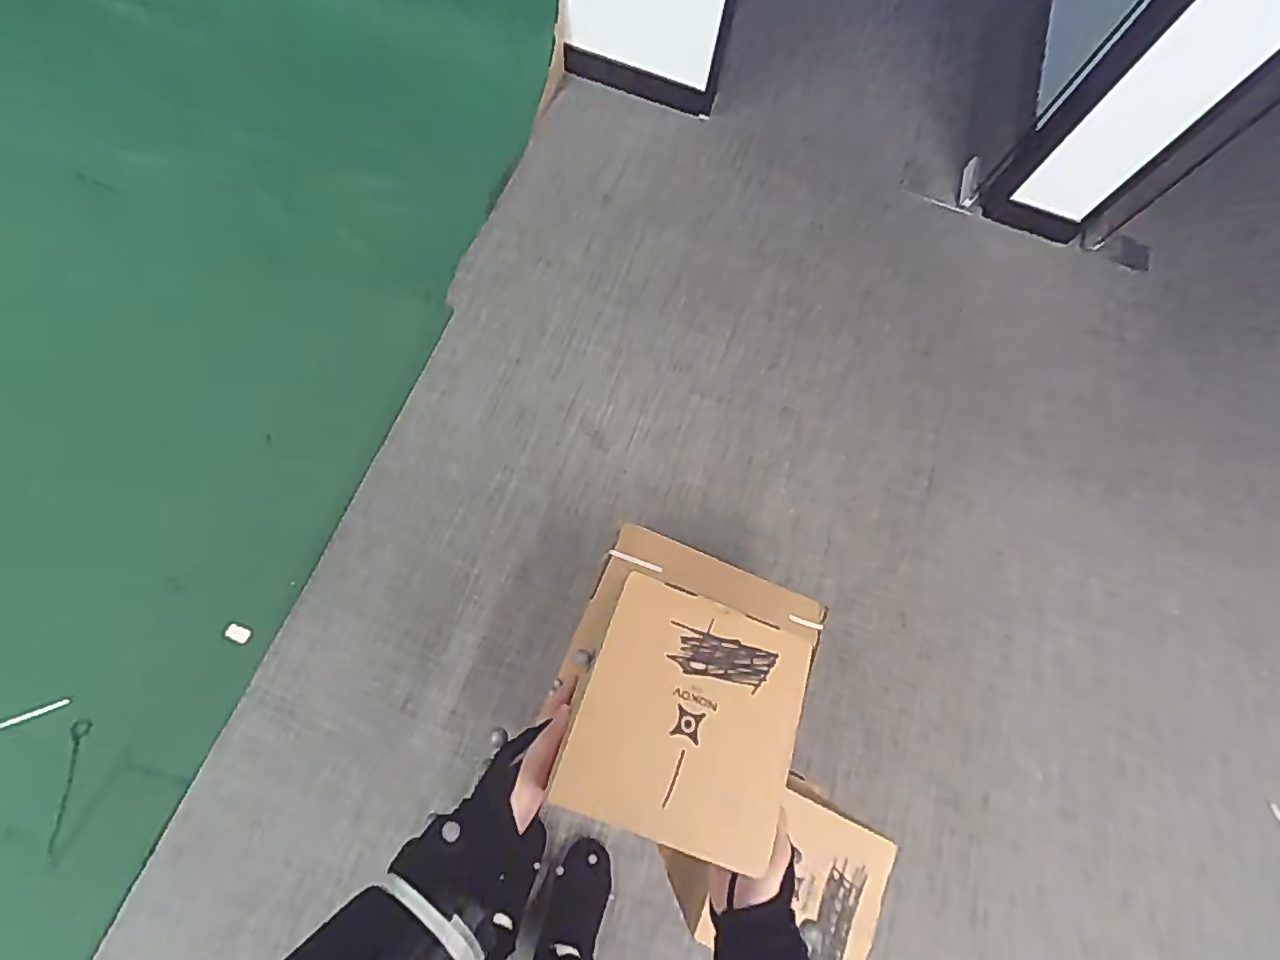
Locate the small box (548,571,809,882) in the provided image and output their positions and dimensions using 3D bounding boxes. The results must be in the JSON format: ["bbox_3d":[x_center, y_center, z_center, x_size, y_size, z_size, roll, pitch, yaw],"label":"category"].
[{"bbox_3d":[0.023,0.206,0.482,0.168,0.176,0.179,22,66,-2],"label":"small box"}]

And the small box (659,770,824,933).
[{"bbox_3d":[0.135,0.491,0.786,0.168,0.176,0.179,25,69,2],"label":"small box"}]
